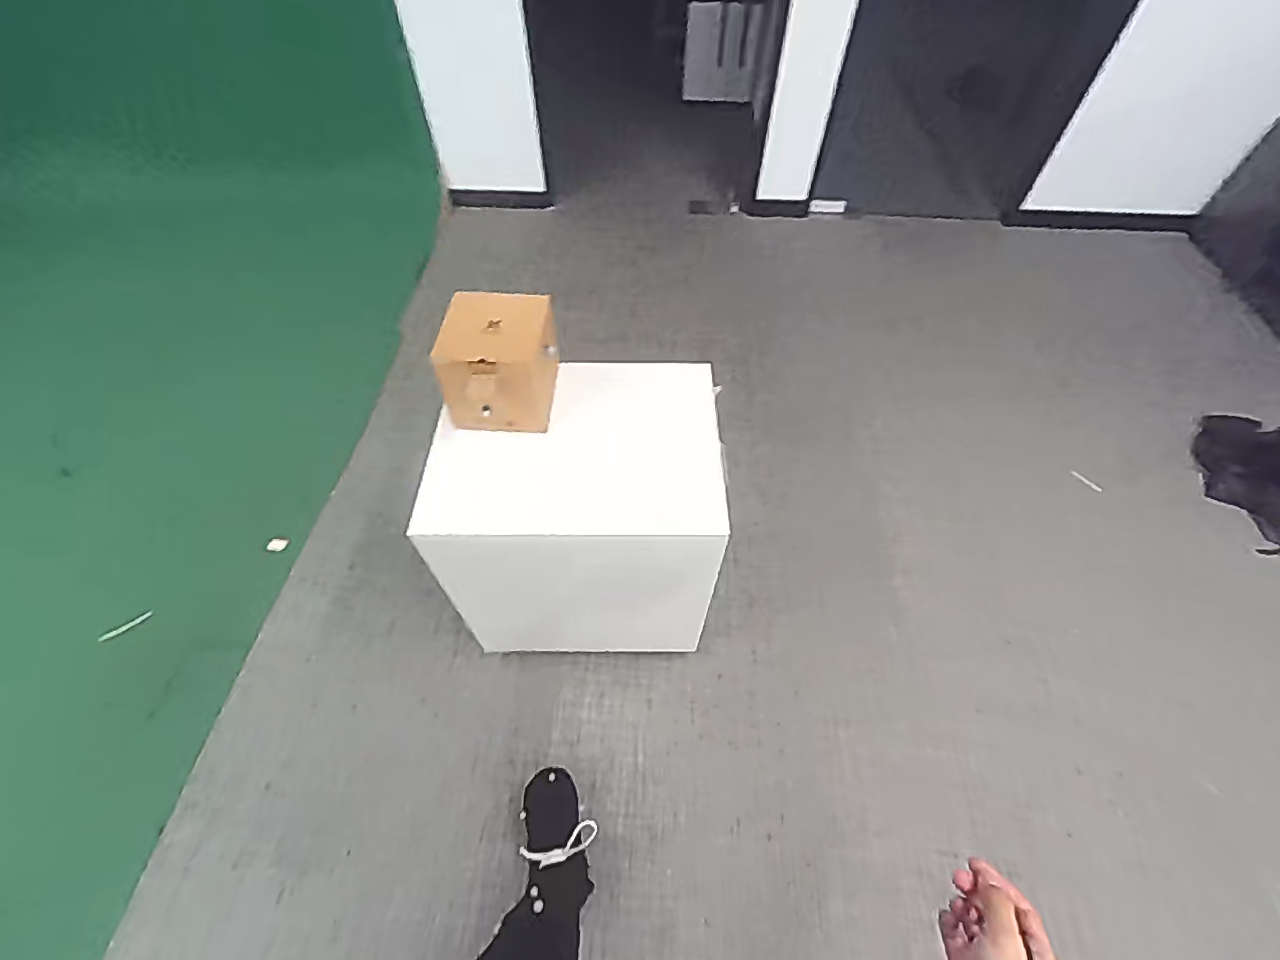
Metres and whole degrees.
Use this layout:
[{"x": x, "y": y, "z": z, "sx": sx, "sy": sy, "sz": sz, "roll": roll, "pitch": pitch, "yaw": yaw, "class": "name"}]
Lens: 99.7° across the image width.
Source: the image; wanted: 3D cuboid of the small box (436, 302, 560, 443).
[{"x": -0.238, "y": -0.189, "z": 0.957, "sx": 0.168, "sy": 0.176, "sz": 0.179, "roll": 3, "pitch": 54, "yaw": 0, "class": "small box"}]
